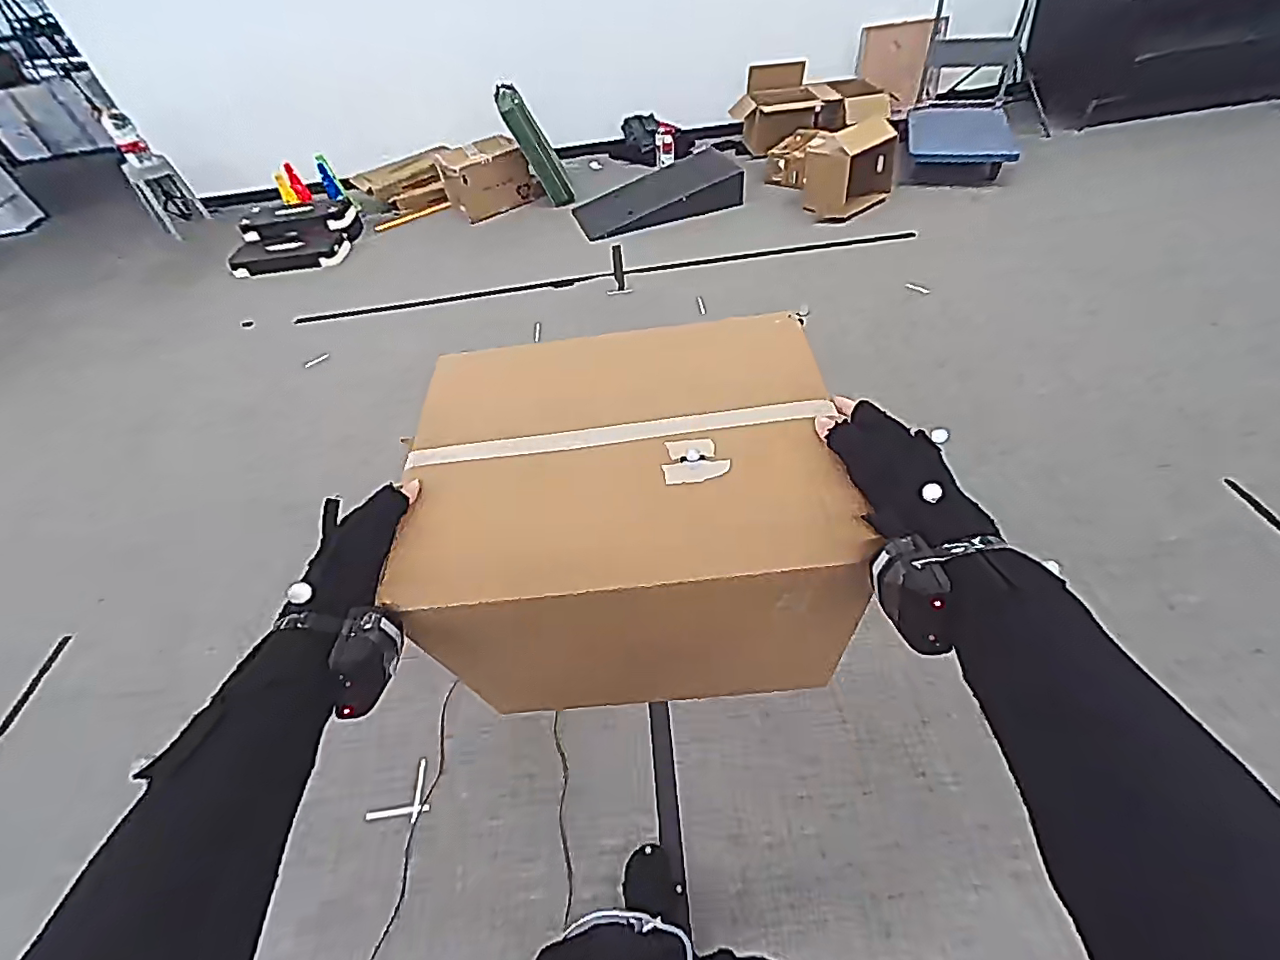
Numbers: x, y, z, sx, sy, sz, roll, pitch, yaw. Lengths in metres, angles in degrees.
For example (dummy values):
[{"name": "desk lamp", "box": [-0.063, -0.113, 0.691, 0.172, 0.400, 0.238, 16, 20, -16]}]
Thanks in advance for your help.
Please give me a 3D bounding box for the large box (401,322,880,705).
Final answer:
[{"name": "large box", "box": [0.001, 0.052, 0.645, 0.408, 0.320, 0.320, -6, 53, 2]}]
